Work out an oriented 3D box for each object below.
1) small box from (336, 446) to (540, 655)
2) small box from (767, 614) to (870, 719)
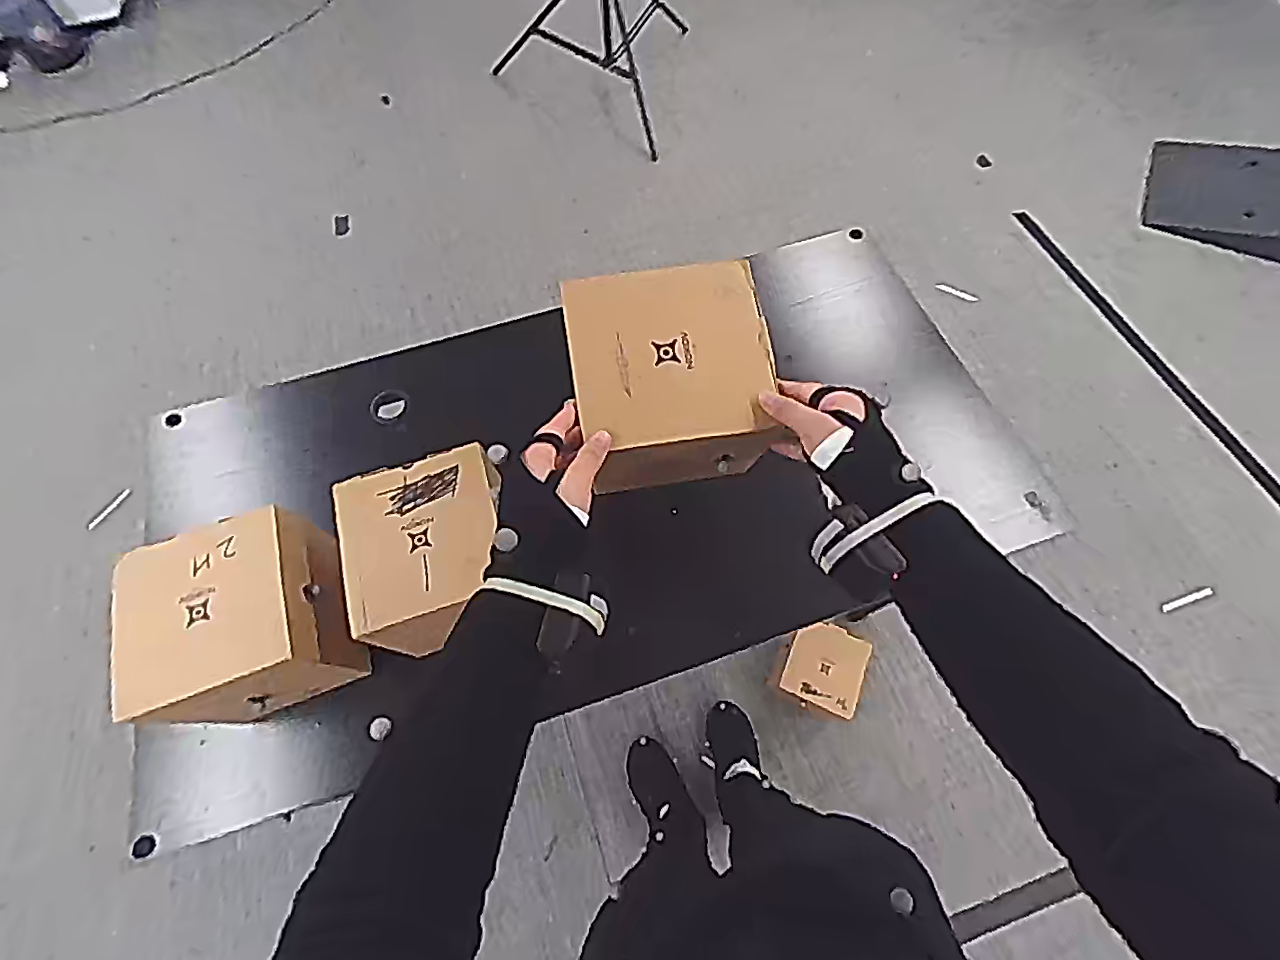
[{"bbox_3d":[-0.231,0.091,0.644,0.168,0.176,0.179,-18,67,-6],"label":"small box"},{"bbox_3d":[0.410,0.441,1.269,0.168,0.176,0.179,22,68,11],"label":"small box"}]
